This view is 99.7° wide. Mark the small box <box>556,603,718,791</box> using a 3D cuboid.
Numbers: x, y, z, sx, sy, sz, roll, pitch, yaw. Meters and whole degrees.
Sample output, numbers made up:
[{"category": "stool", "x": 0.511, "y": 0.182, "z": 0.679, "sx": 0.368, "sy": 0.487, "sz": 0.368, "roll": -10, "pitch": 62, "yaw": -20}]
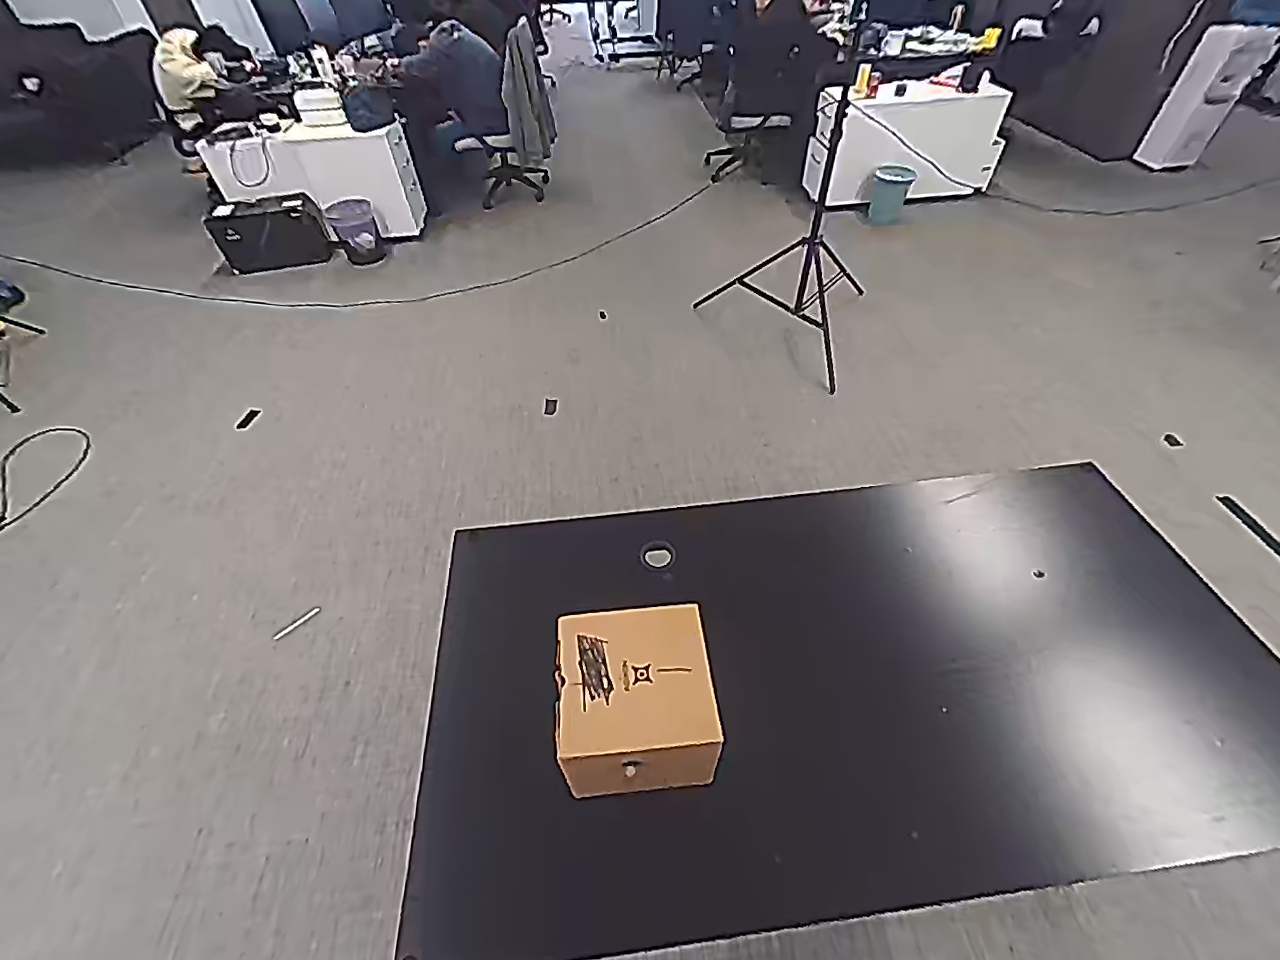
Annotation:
[{"category": "small box", "x": -0.006, "y": 0.276, "z": 0.682, "sx": 0.179, "sy": 0.176, "sz": 0.168, "roll": -4, "pitch": 48, "yaw": -3}]
